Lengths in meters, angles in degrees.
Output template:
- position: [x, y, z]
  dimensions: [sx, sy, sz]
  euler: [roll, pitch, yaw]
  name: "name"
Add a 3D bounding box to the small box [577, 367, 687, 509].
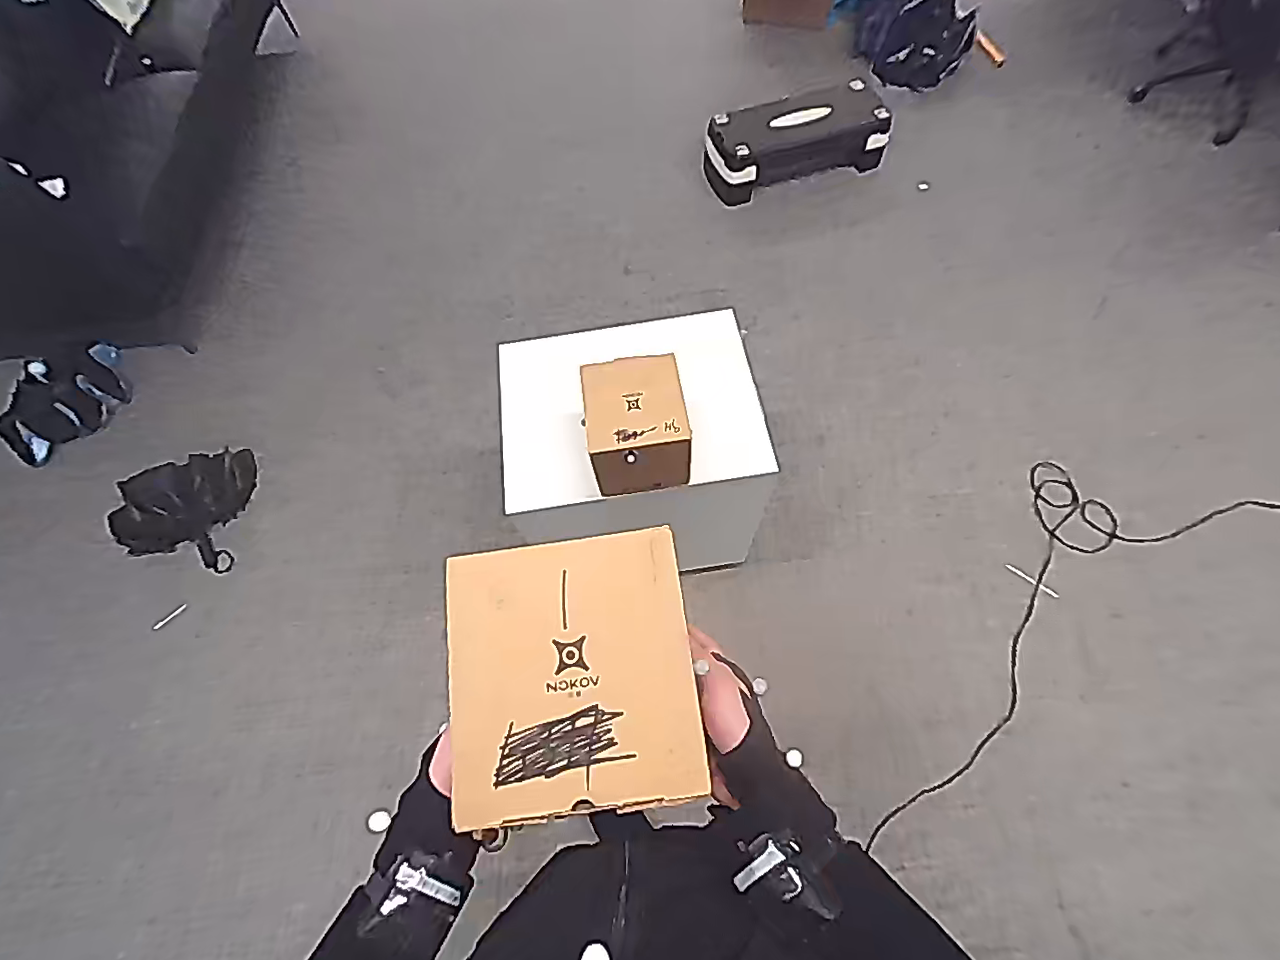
- position: [-0.014, -0.070, 0.955]
  dimensions: [0.168, 0.176, 0.179]
  euler: [-9, 61, -1]
  name: "small box"
